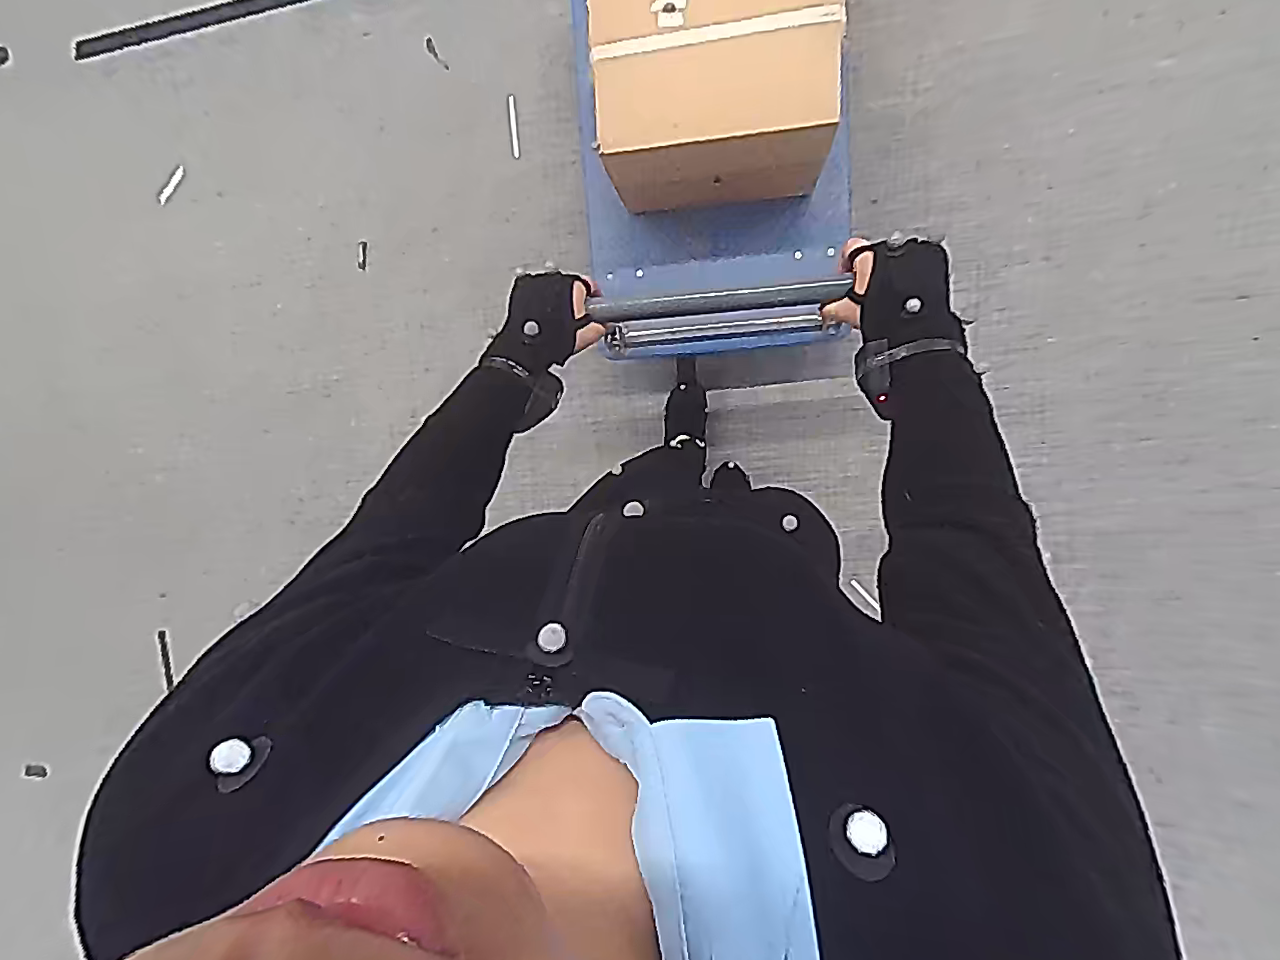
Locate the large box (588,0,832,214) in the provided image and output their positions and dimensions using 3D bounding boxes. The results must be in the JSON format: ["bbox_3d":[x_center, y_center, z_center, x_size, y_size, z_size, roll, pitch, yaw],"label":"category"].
[{"bbox_3d":[0.140,-0.750,1.055,0.408,0.320,0.320,-2,97,10],"label":"large box"}]
